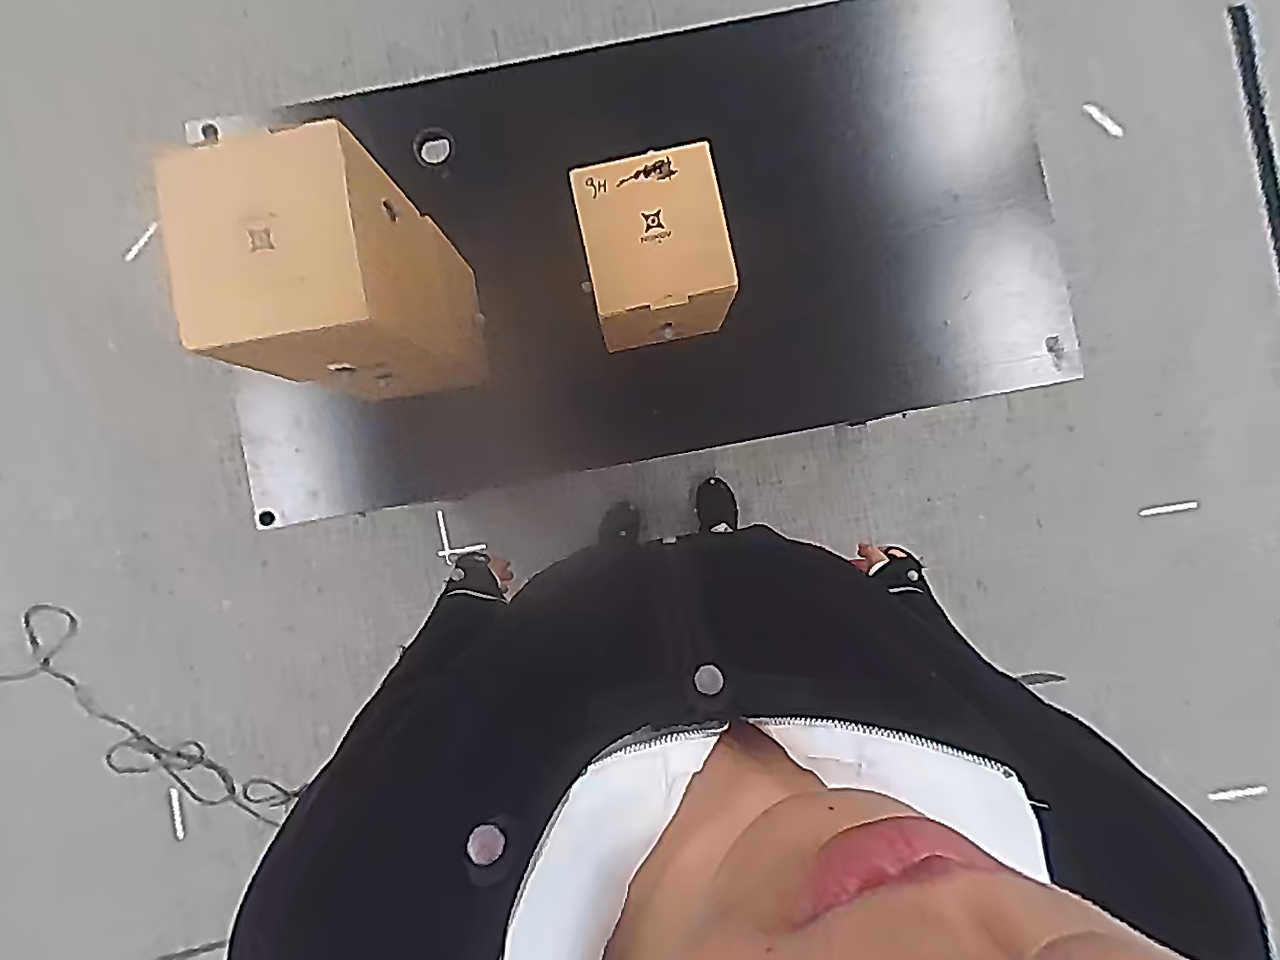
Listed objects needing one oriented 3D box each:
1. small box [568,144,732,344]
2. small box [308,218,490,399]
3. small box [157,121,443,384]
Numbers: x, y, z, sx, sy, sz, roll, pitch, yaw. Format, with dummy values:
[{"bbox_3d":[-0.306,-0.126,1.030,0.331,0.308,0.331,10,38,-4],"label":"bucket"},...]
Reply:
[{"bbox_3d":[0.015,-0.287,0.703,0.168,0.176,0.179,-12,89,1],"label":"small box"},{"bbox_3d":[-0.314,-0.208,0.703,0.179,0.176,0.168,-9,89,0],"label":"small box"},{"bbox_3d":[-0.318,-0.208,0.541,0.168,0.176,0.179,-10,90,2],"label":"small box"}]
